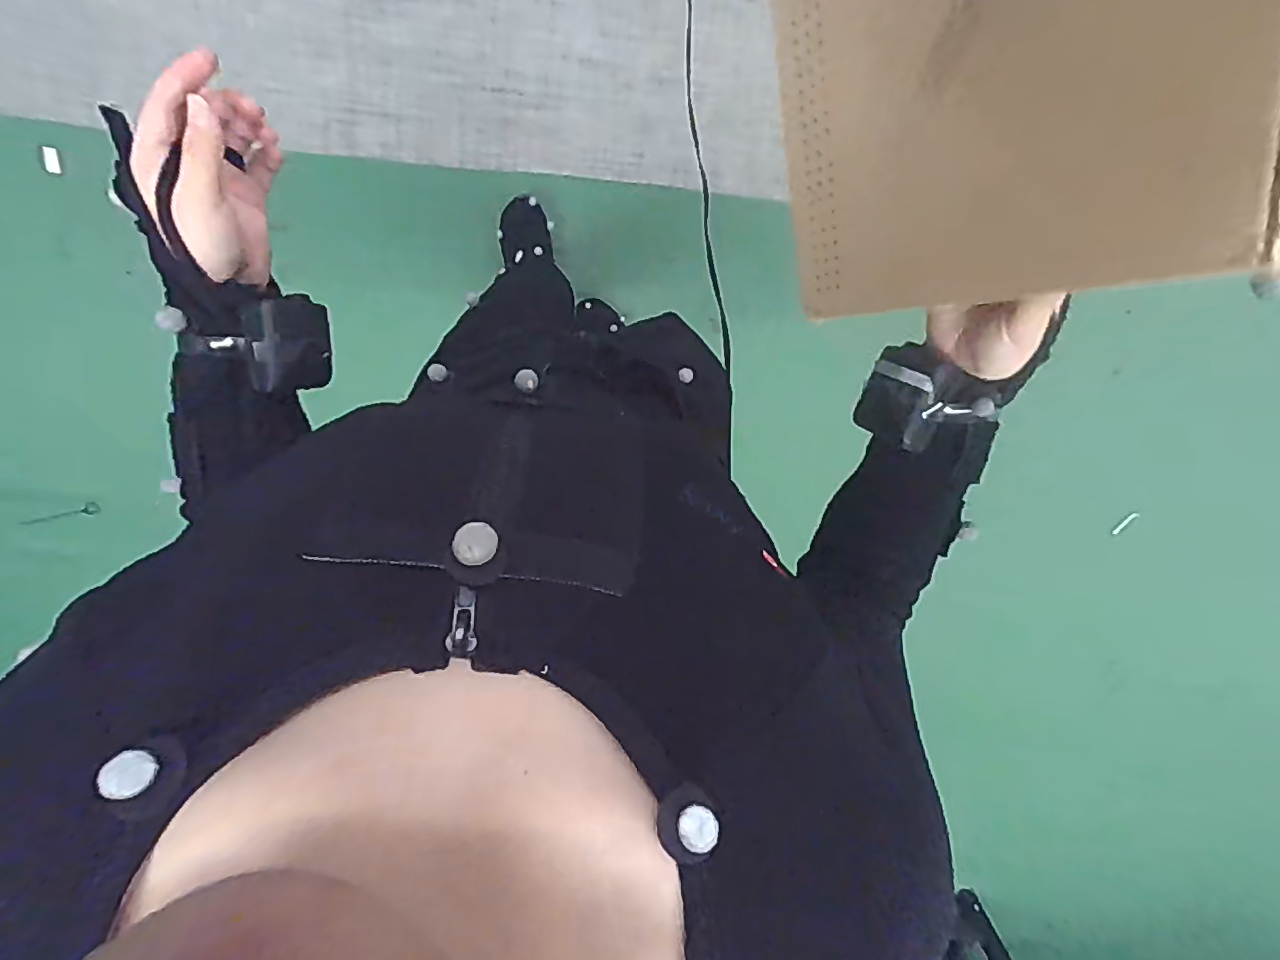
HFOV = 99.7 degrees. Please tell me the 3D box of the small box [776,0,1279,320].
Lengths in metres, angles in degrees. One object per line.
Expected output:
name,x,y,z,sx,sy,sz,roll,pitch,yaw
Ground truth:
small box,0.171,-0.172,0.209,0.168,0.176,0.179,-18,106,-17
